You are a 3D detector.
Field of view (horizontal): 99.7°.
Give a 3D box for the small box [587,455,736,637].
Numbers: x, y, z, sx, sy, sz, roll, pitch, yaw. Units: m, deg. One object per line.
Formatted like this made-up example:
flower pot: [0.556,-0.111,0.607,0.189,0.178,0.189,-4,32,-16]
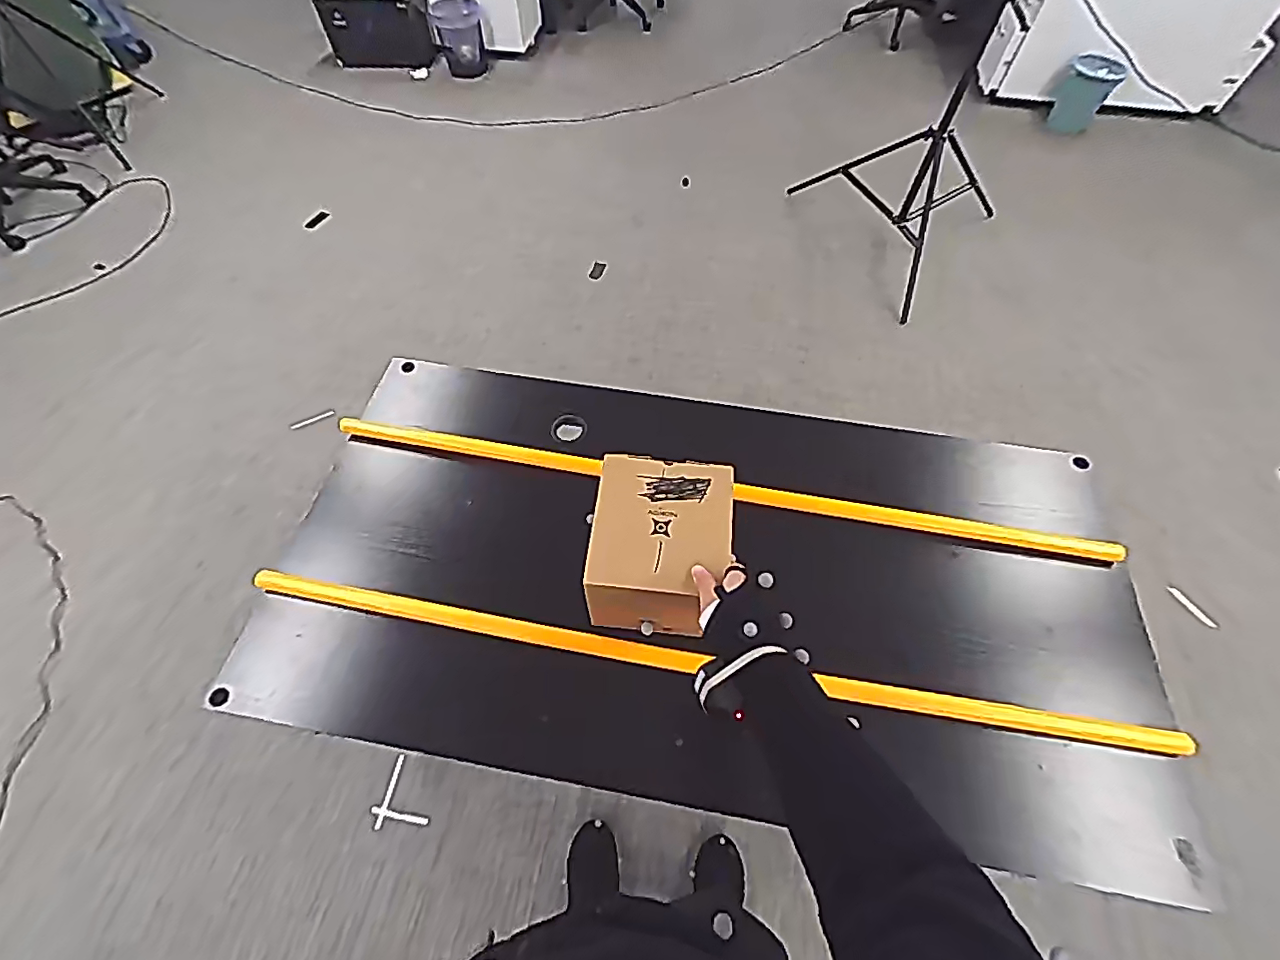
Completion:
small box: [0.029,0.090,0.711,0.168,0.176,0.179,6,60,4]
